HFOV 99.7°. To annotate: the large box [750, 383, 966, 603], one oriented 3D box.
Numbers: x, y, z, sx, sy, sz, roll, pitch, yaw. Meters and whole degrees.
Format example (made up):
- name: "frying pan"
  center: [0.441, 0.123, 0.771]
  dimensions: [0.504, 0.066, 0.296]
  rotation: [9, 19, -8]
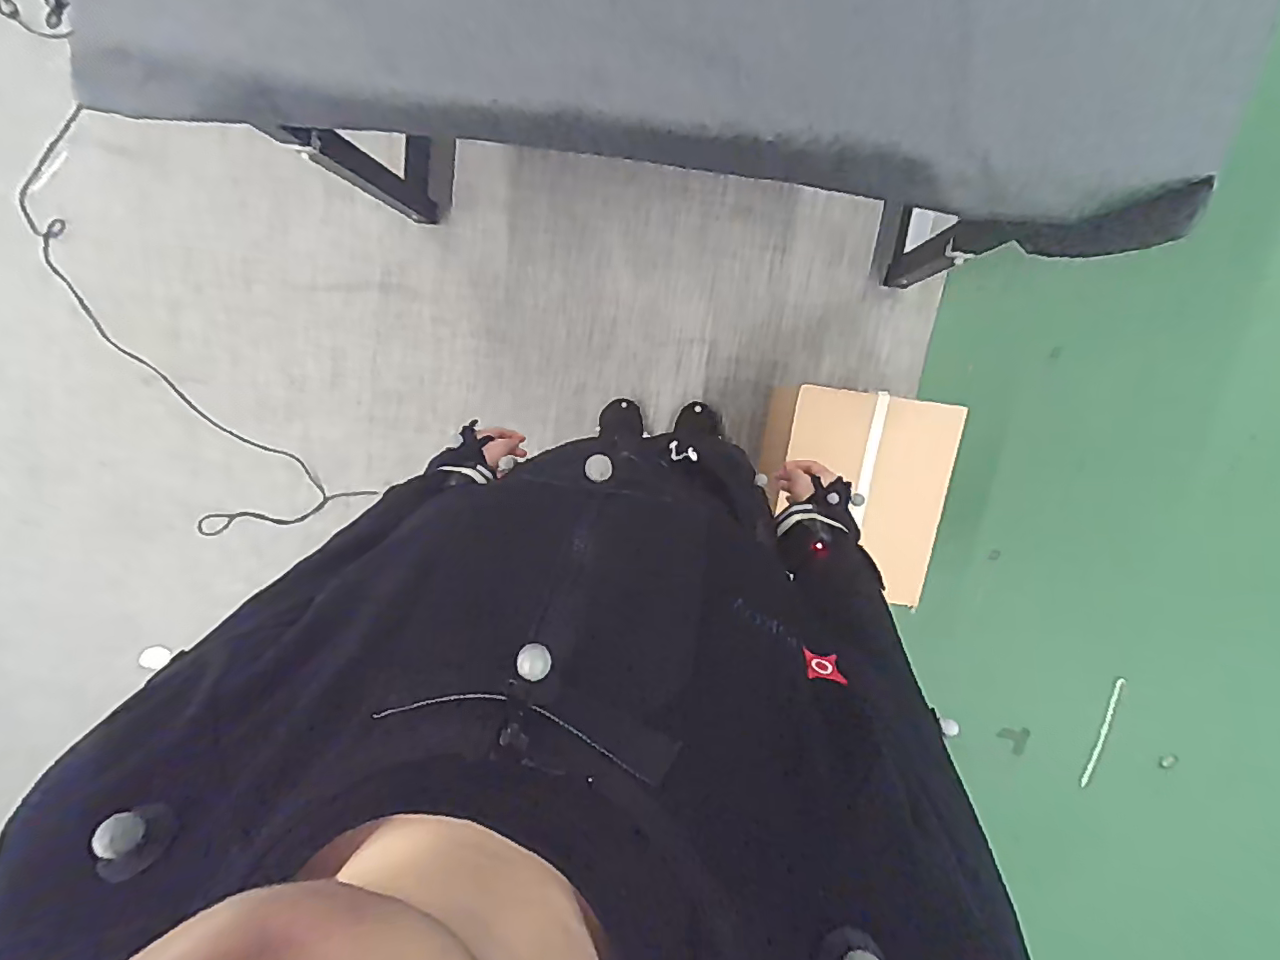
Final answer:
- name: "large box"
  center: [0.441, 0.003, 1.185]
  dimensions: [0.320, 0.320, 0.408]
  rotation: [9, 101, 4]
